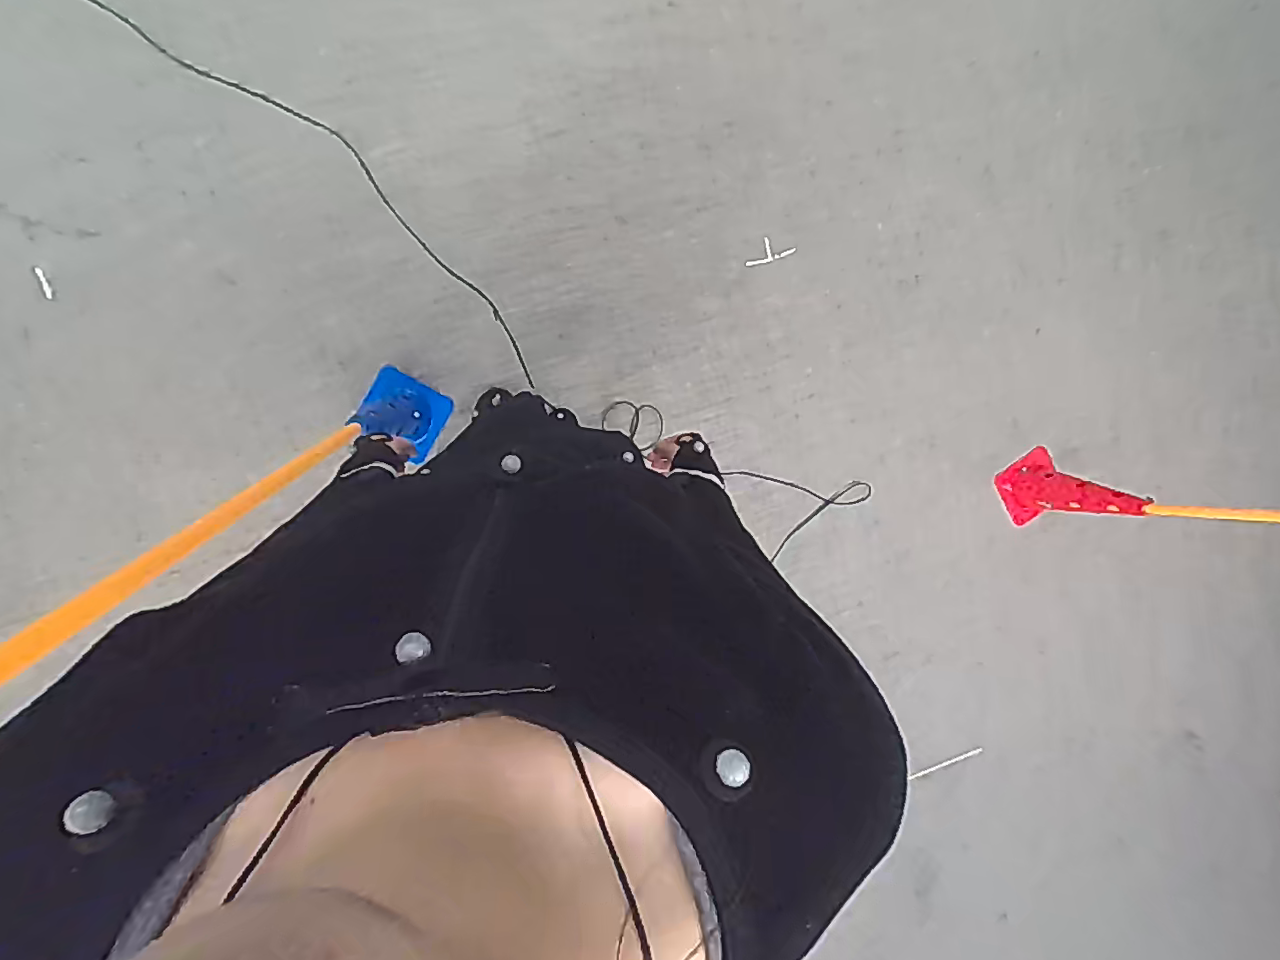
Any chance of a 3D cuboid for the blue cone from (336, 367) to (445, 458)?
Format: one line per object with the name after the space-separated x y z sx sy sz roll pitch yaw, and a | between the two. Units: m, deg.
-0.582 -0.133 1.212 0.192 0.380 0.193 28 96 -14 | blue cone
